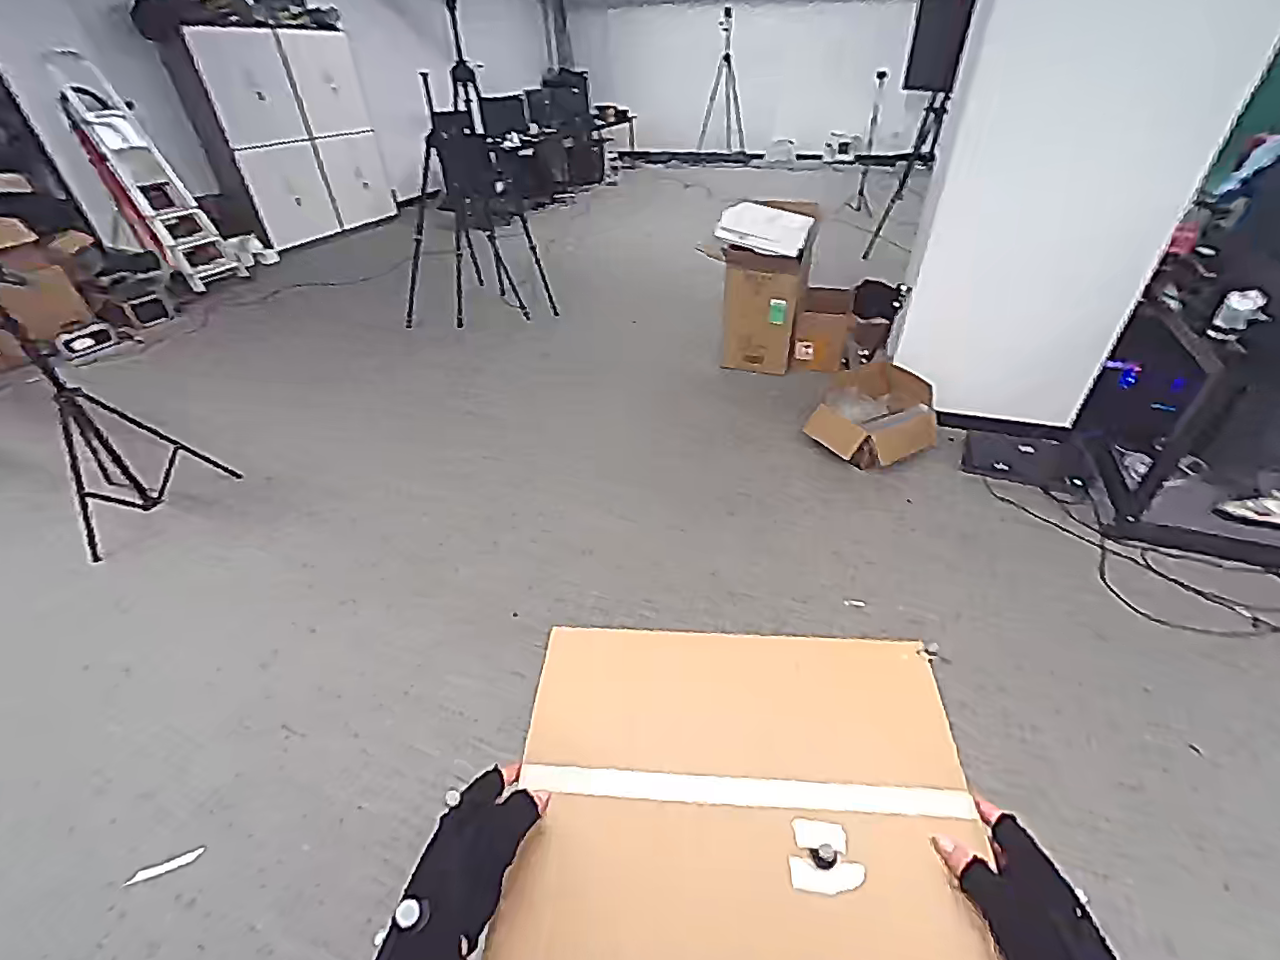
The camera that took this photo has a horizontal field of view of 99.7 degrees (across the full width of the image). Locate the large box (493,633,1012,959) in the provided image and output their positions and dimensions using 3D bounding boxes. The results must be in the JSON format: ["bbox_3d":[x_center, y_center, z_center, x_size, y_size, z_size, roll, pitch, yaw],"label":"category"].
[{"bbox_3d":[0.094,0.389,0.601,0.408,0.320,0.320,1,46,4],"label":"large box"}]
